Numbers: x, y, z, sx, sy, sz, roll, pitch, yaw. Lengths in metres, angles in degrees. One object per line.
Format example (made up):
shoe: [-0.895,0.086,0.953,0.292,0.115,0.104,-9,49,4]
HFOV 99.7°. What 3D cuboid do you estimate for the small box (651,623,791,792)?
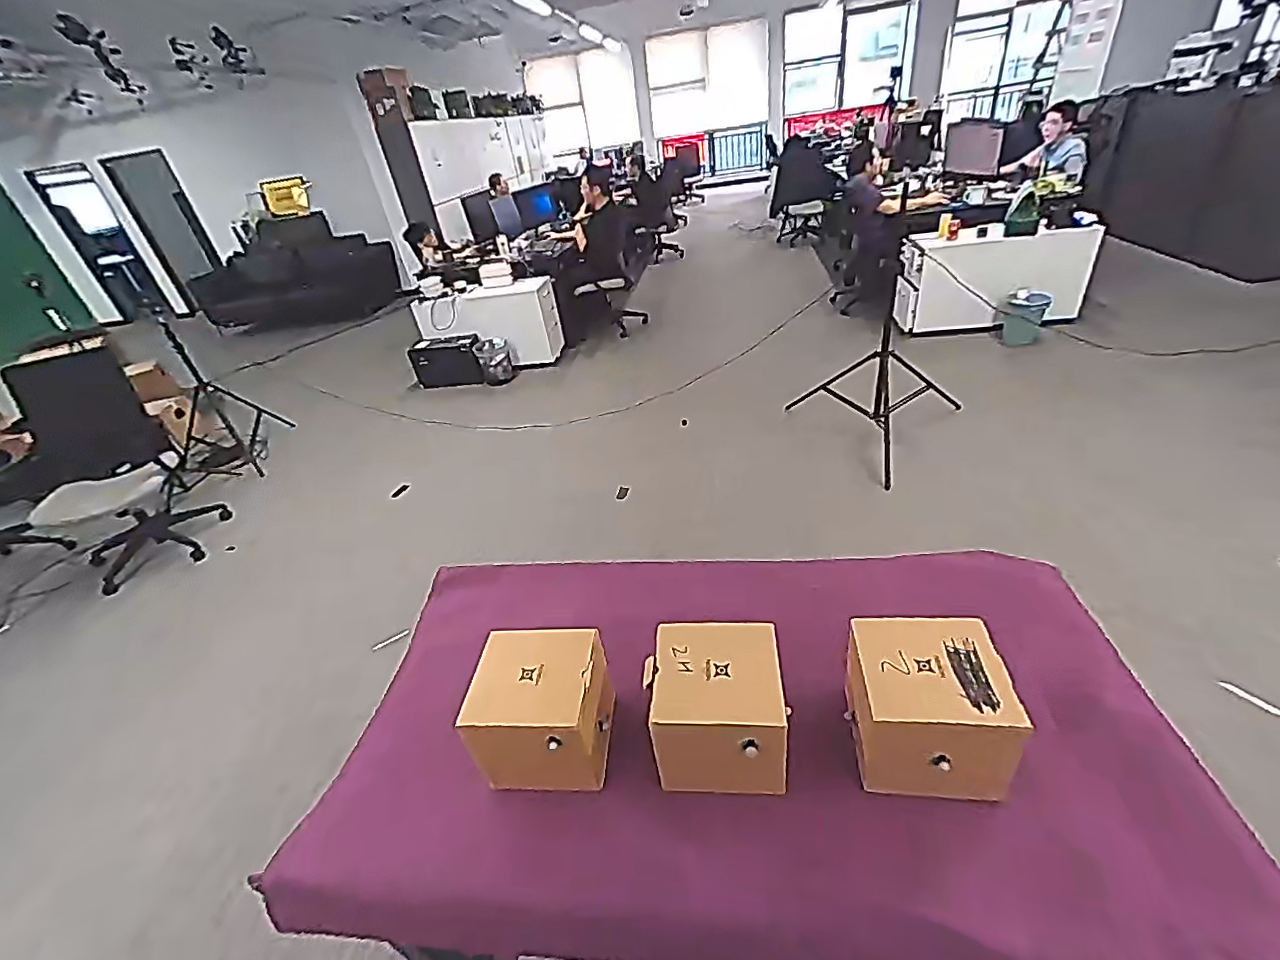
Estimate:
small box: [0.119,0.329,0.787,0.179,0.176,0.168,-4,33,9]

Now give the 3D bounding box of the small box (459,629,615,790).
small box: [-0.144,0.350,0.826,0.179,0.176,0.168,-4,33,7]
